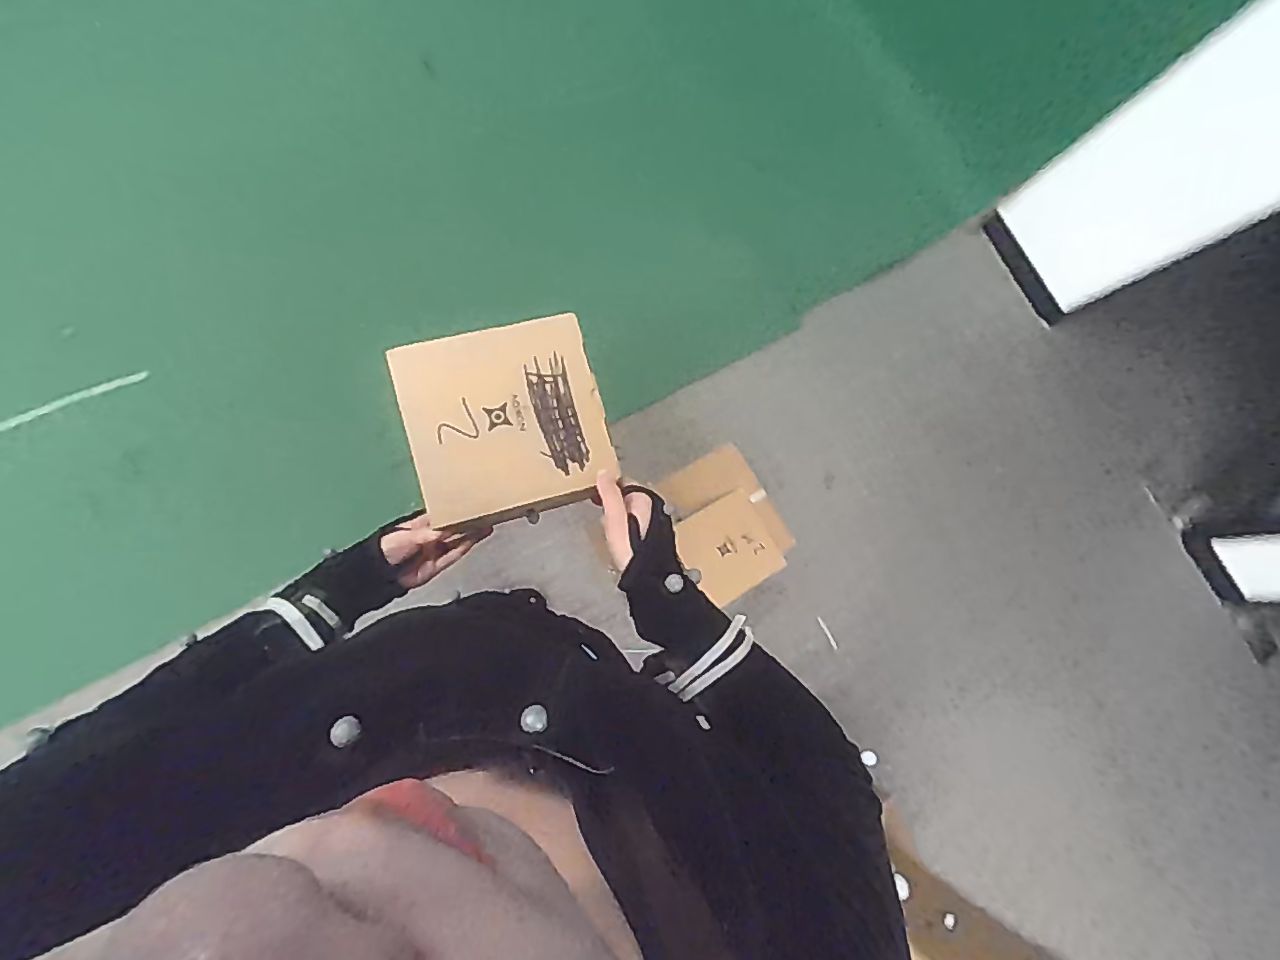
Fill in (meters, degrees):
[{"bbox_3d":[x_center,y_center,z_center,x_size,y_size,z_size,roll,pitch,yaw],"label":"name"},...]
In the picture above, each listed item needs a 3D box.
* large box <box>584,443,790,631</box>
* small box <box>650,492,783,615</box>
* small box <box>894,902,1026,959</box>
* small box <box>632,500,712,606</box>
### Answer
[{"bbox_3d":[0.108,0.159,1.455,0.408,0.320,0.320,-29,87,-17],"label":"large box"},{"bbox_3d":[0.134,0.144,1.037,0.179,0.176,0.168,-27,87,-17],"label":"small box"},{"bbox_3d":[0.612,0.944,0.997,0.168,0.176,0.179,-17,83,-18],"label":"small box"},{"bbox_3d":[0.095,0.165,1.197,0.179,0.176,0.168,-27,86,-17],"label":"small box"}]
